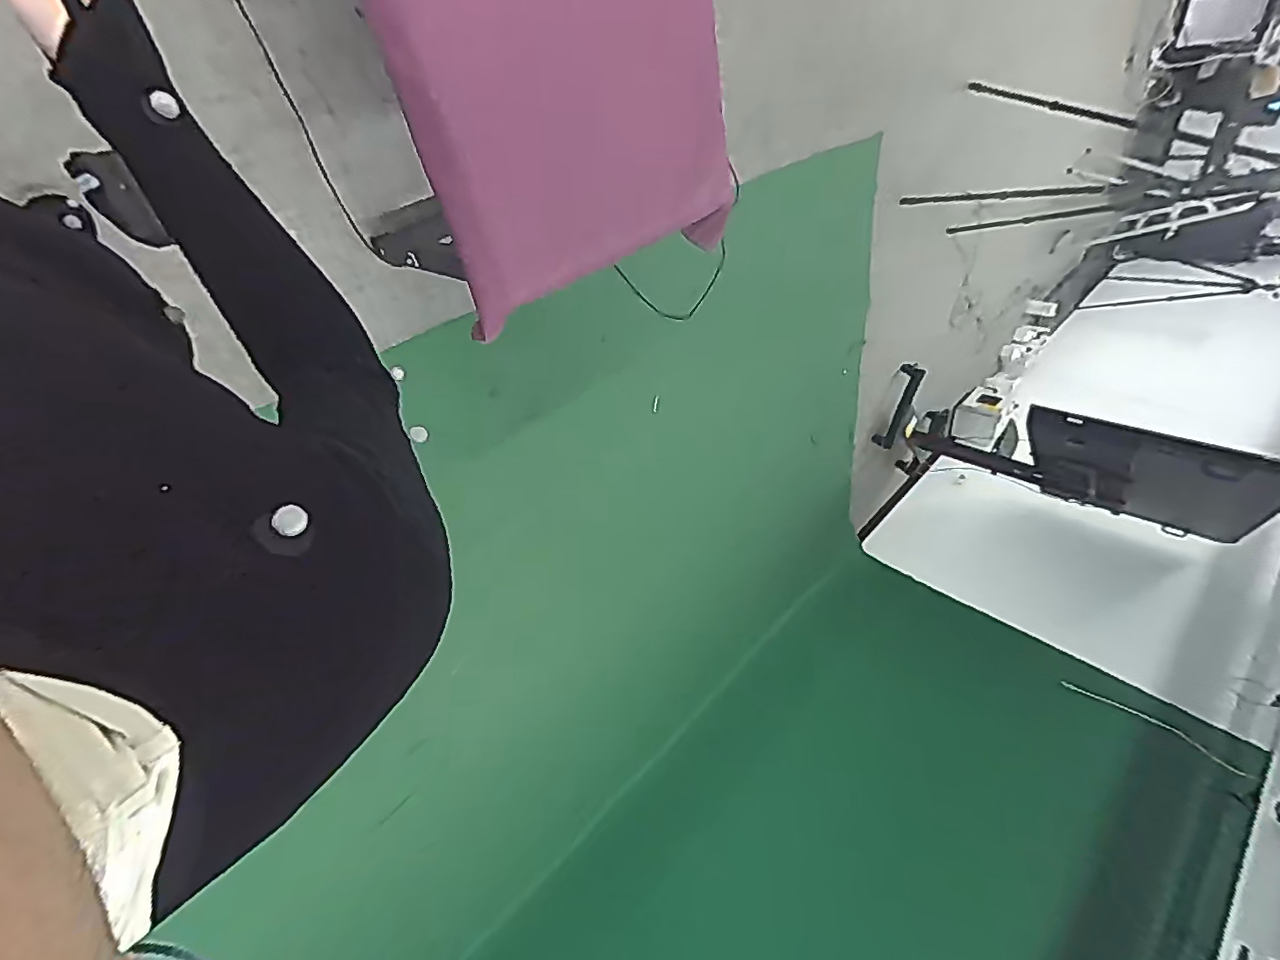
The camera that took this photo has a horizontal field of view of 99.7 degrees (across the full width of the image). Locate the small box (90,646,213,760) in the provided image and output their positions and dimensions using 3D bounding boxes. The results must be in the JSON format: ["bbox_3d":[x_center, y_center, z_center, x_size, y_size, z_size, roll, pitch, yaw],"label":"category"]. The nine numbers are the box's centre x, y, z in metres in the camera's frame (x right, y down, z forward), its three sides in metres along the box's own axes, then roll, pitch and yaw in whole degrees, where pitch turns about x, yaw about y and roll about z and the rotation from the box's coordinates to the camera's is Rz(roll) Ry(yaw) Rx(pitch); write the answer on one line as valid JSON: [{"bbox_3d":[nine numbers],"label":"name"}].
[{"bbox_3d":[-1.247,0.563,1.385,0.168,0.176,0.179,-36,133,-28],"label":"small box"}]
